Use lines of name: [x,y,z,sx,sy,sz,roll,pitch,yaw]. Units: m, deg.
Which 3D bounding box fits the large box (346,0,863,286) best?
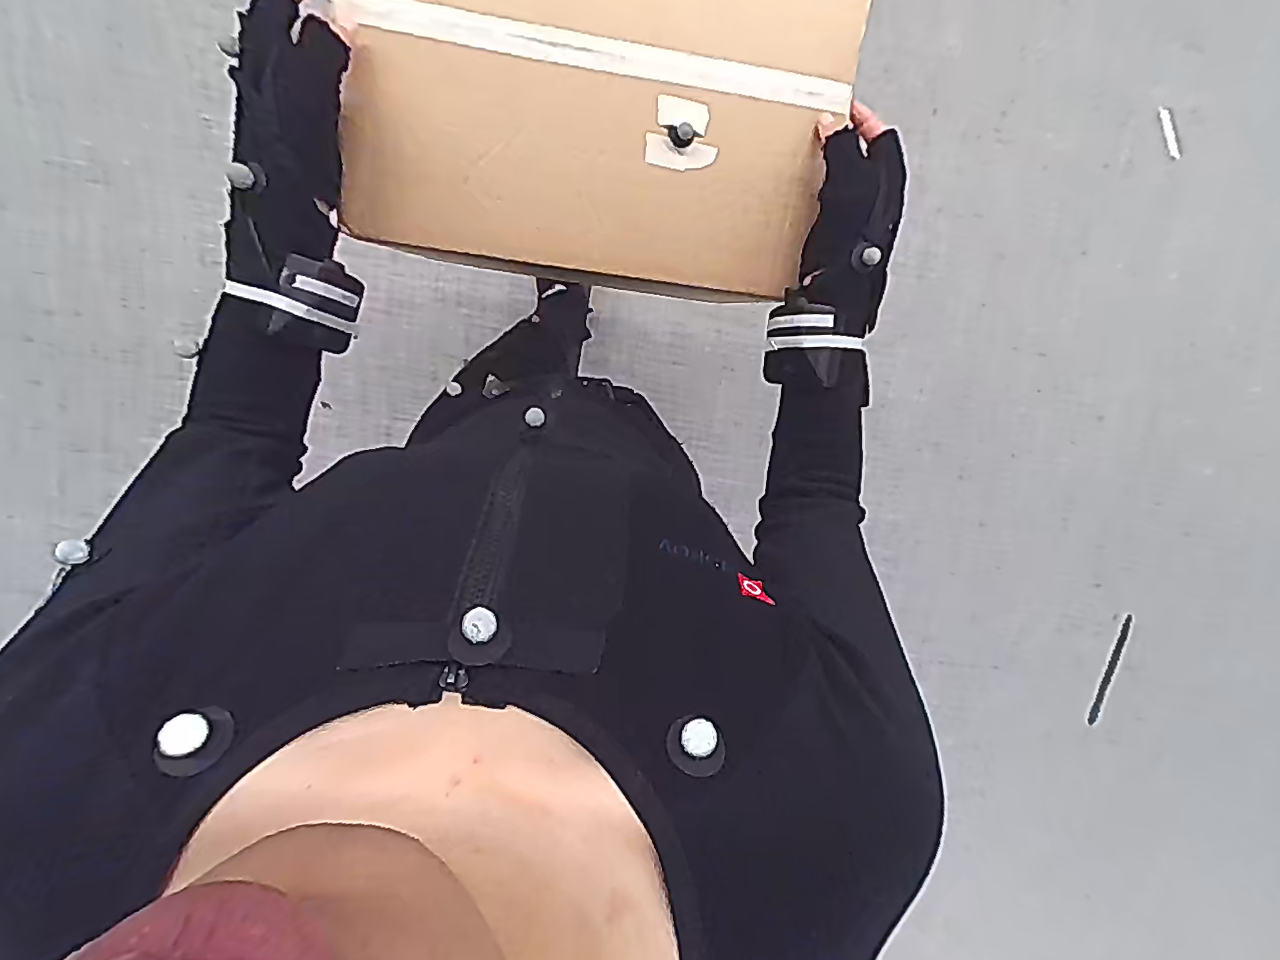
large box: [-0.040,-0.391,0.568,0.408,0.320,0.320,5,108,-8]
